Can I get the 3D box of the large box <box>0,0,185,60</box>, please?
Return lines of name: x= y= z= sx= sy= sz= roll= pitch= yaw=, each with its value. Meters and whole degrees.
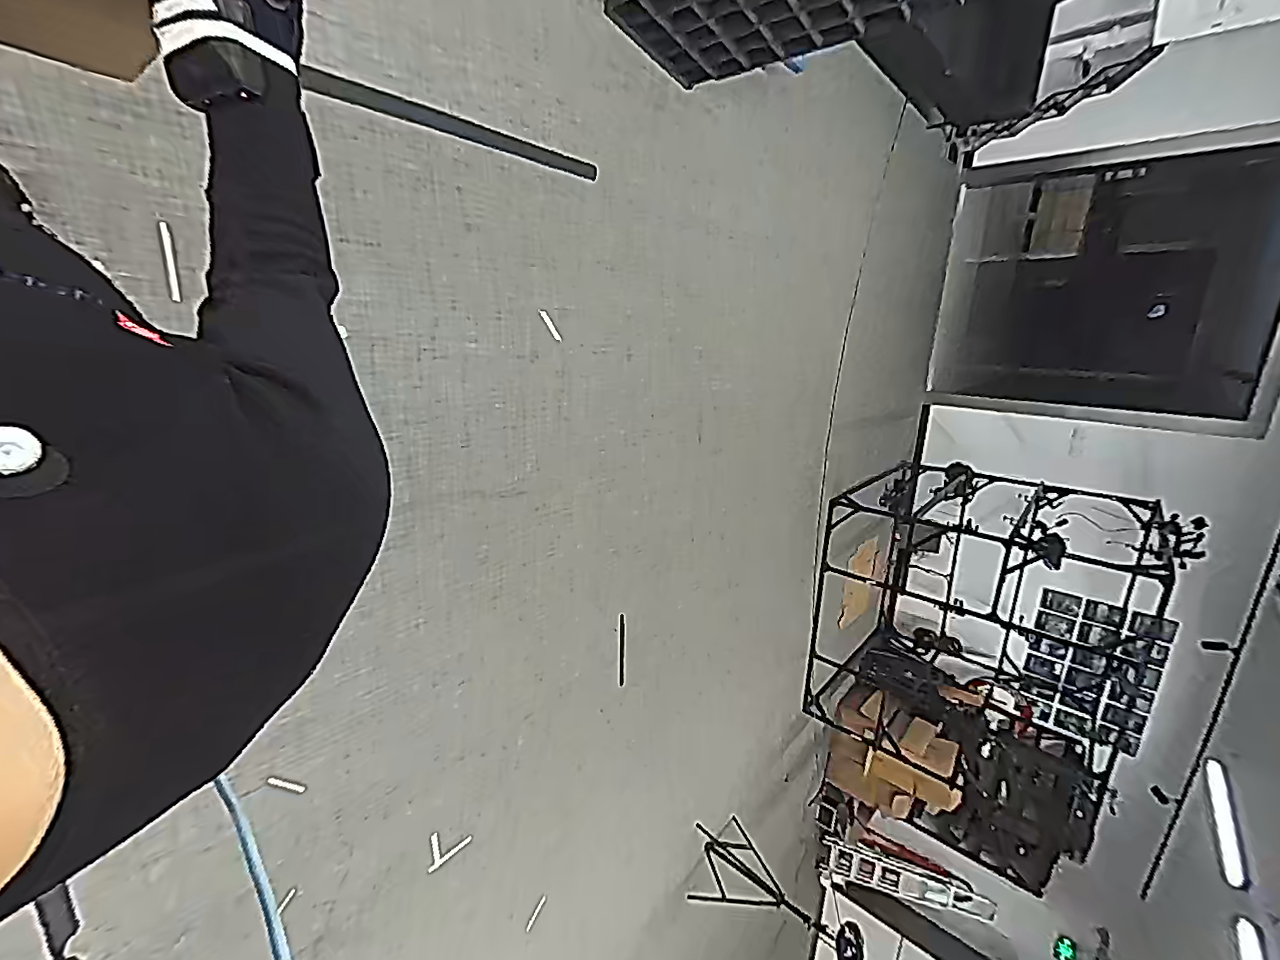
large box: x=-0.536 y=-0.502 z=0.283 sx=0.408 sy=0.320 sz=0.320 roll=-14 pitch=118 yaw=-49
